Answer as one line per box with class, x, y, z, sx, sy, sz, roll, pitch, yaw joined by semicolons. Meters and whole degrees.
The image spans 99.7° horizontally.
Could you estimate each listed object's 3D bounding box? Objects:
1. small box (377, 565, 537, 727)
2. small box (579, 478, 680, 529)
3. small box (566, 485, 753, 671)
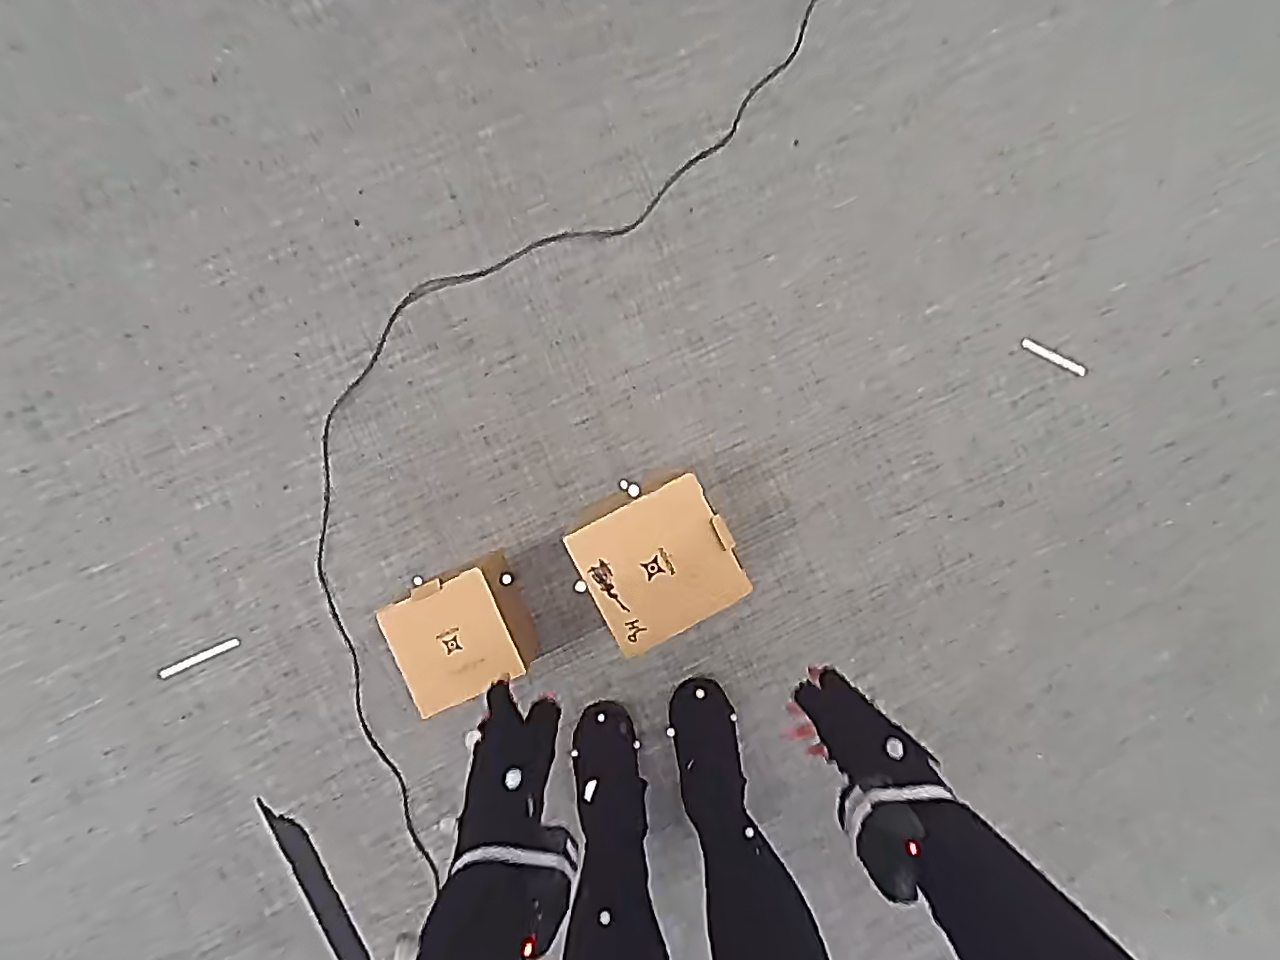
small box;-0.277;0.247;0.859;0.168;0.176;0.179;-23;93;-3
small box;0.012;0.109;0.875;0.168;0.176;0.179;-27;93;-3
small box;0.017;0.112;0.711;0.179;0.176;0.168;-27;92;-4
